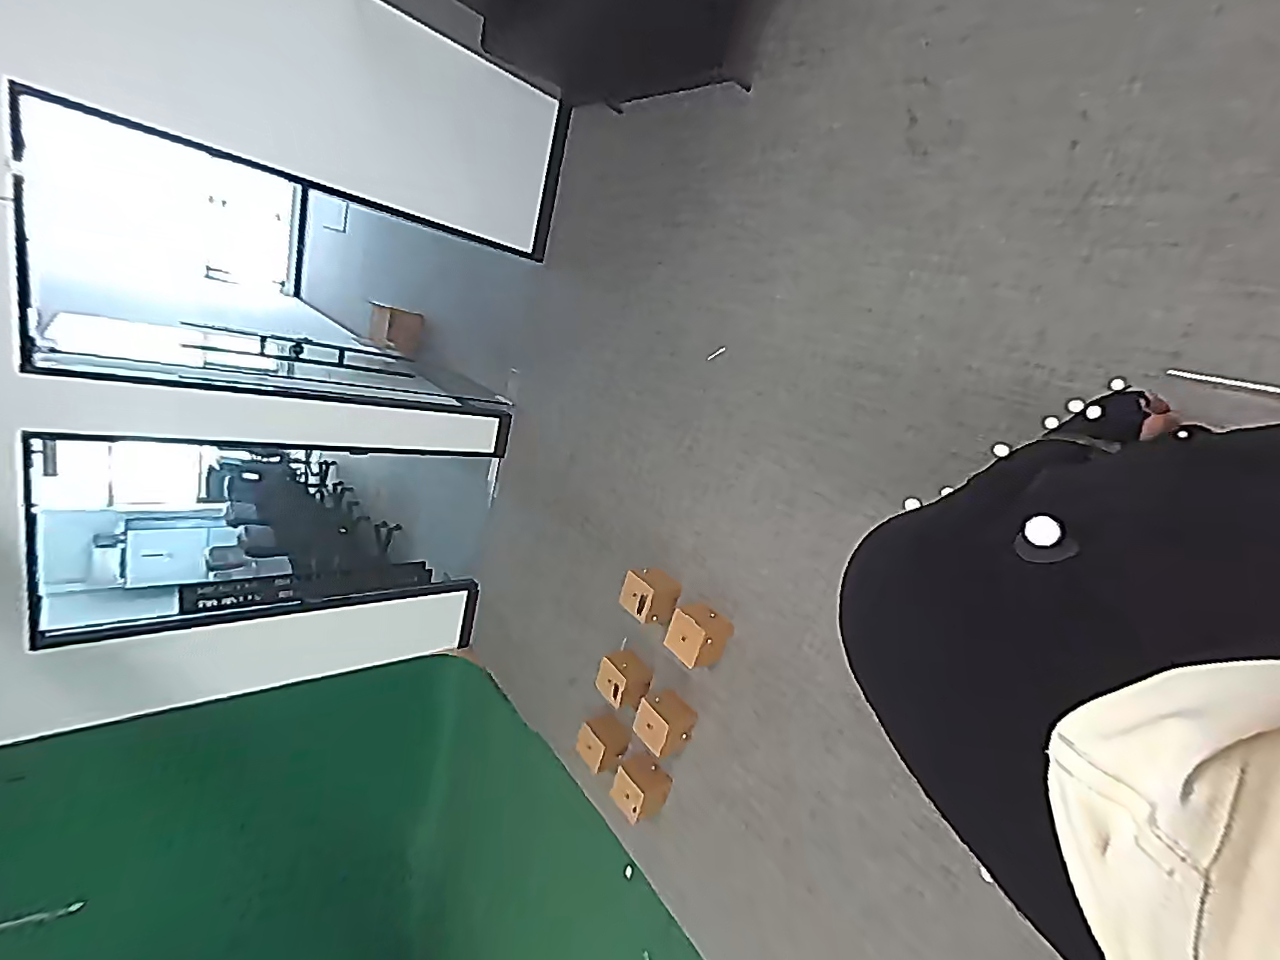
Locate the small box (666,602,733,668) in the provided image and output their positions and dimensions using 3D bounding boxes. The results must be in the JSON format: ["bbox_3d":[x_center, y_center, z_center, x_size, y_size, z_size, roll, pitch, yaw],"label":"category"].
[{"bbox_3d":[0.236,0.600,2.114,0.168,0.176,0.179,33,112,43],"label":"small box"}]

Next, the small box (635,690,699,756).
[{"bbox_3d":[0.112,0.997,2.241,0.179,0.176,0.168,33,113,43],"label":"small box"}]

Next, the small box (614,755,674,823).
[{"bbox_3d":[0.016,1.327,2.341,0.179,0.176,0.168,31,113,45],"label":"small box"}]

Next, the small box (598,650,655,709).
[{"bbox_3d":[-0.058,0.888,2.432,0.179,0.176,0.168,33,113,44],"label":"small box"}]
